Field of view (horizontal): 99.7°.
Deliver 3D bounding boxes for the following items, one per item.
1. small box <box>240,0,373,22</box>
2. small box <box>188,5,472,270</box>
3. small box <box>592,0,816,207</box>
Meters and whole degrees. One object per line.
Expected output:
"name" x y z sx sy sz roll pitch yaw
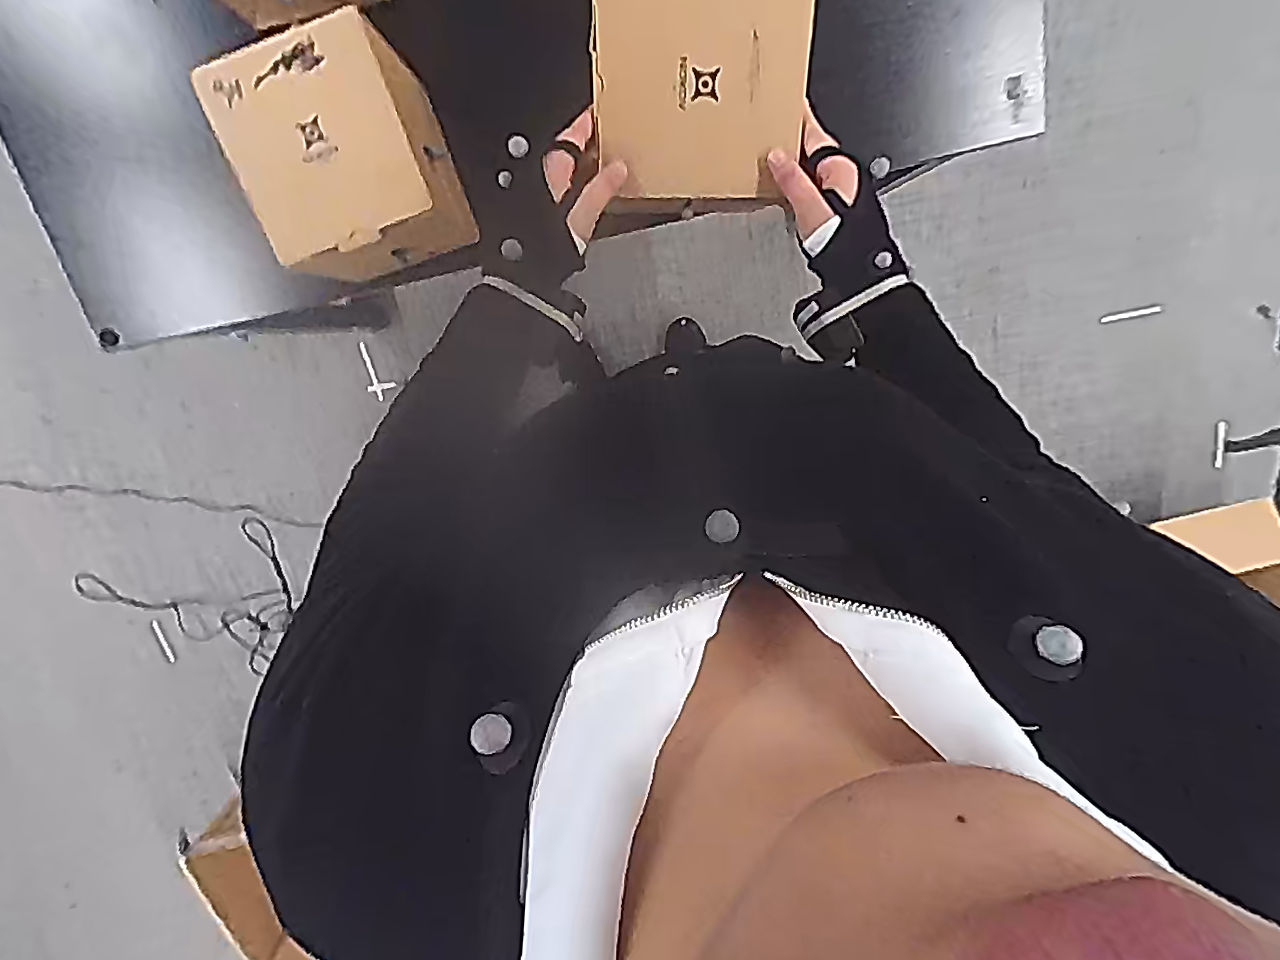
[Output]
"small box" -0.371 -0.588 0.505 0.168 0.176 0.179 -11 106 2
"small box" -0.303 -0.335 0.576 0.168 0.176 0.179 -18 105 4
"small box" 0.050 -0.357 0.512 0.179 0.176 0.168 -1 113 -1
